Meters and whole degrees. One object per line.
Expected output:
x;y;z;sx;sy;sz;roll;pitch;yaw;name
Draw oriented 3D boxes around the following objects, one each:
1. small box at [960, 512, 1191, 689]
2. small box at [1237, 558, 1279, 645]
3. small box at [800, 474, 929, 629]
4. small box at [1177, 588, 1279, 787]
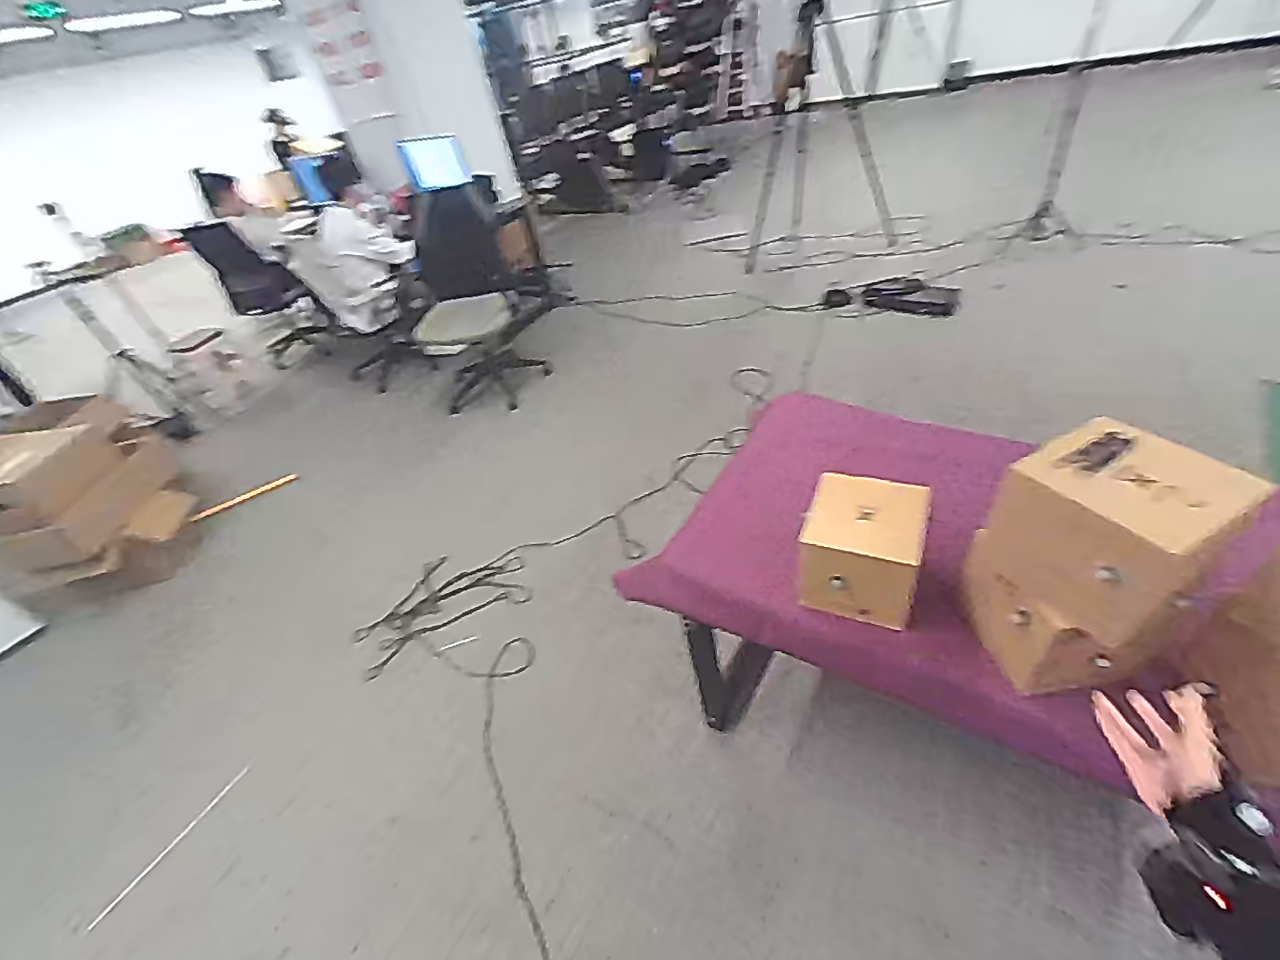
0.592;0.176;0.767;0.168;0.176;0.179;-11;39;2;small box
0.777;0.114;0.533;0.168;0.176;0.179;-21;39;-12;small box
0.371;0.118;0.900;0.168;0.176;0.179;10;44;26;small box
0.800;0.247;0.627;0.179;0.176;0.168;-1;39;15;small box
